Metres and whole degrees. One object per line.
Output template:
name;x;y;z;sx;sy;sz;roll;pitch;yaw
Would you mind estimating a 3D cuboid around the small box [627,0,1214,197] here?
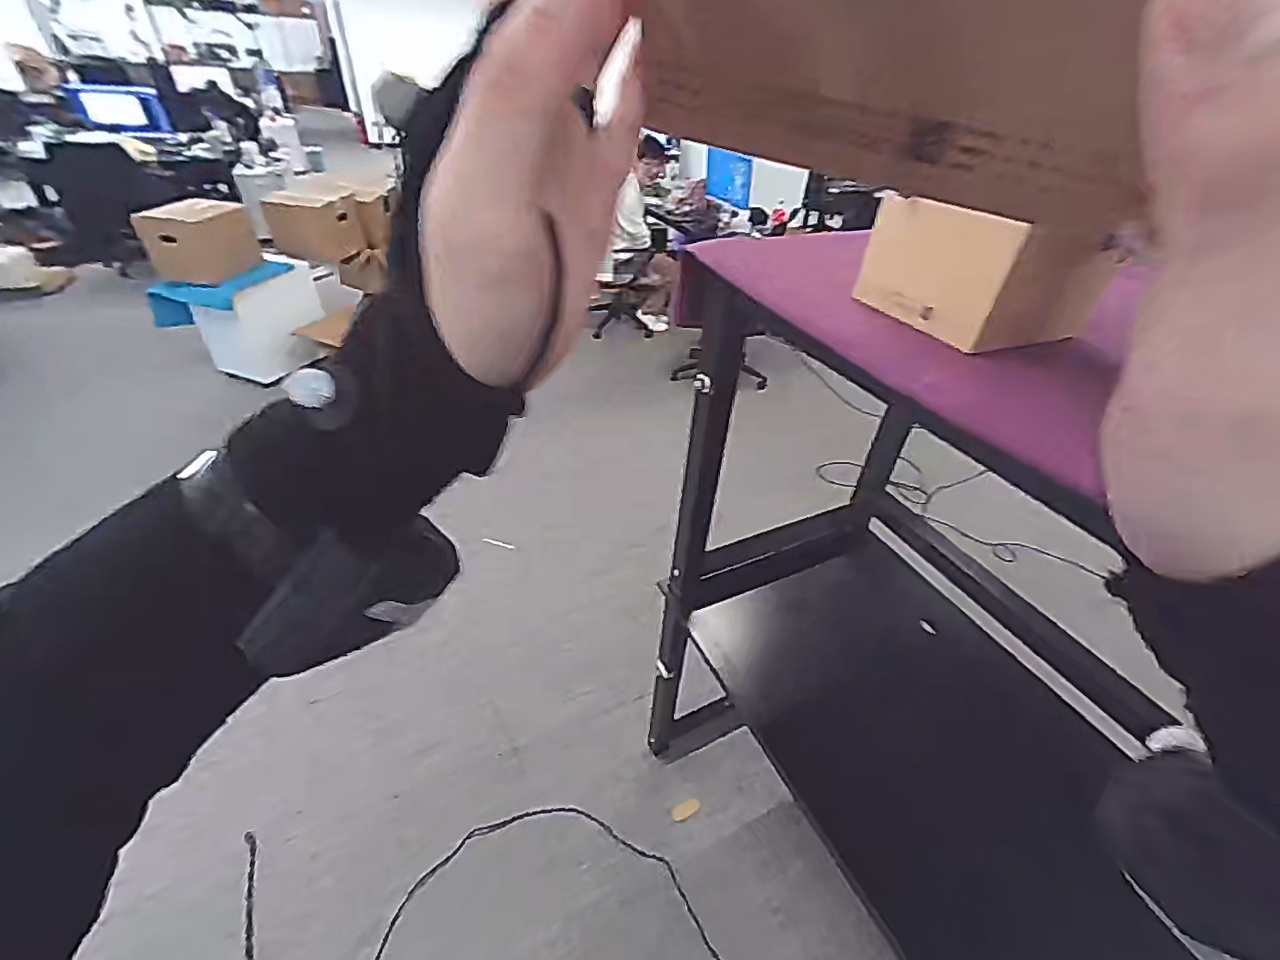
small box;0.095;-0.217;0.147;0.168;0.176;0.179;23;72;13
